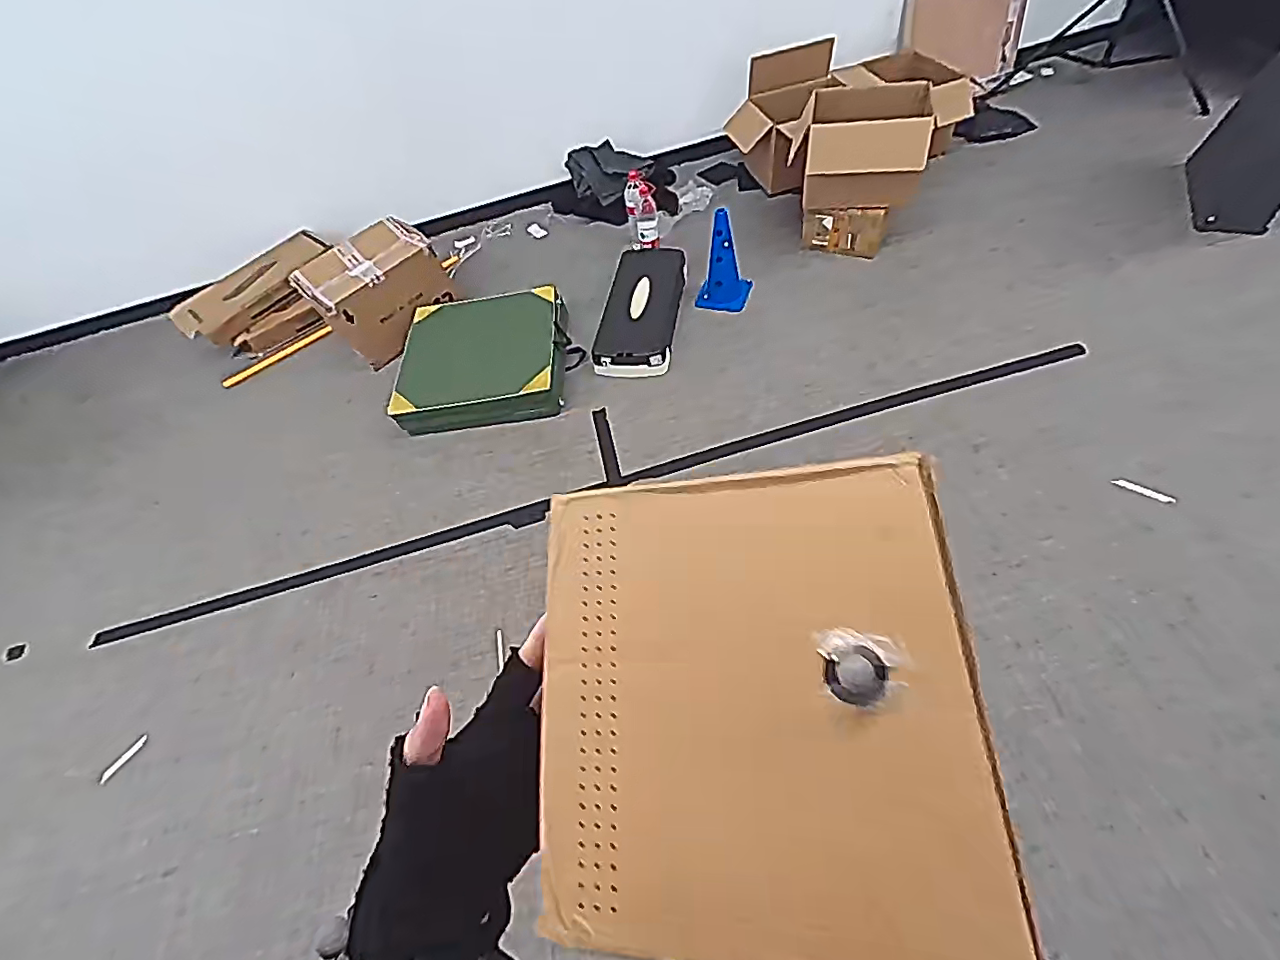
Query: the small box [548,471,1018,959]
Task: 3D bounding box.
[{"bbox_3d":[0.060,0.112,0.291,0.176,0.168,0.179,-7,69,16],"label":"small box"}]
